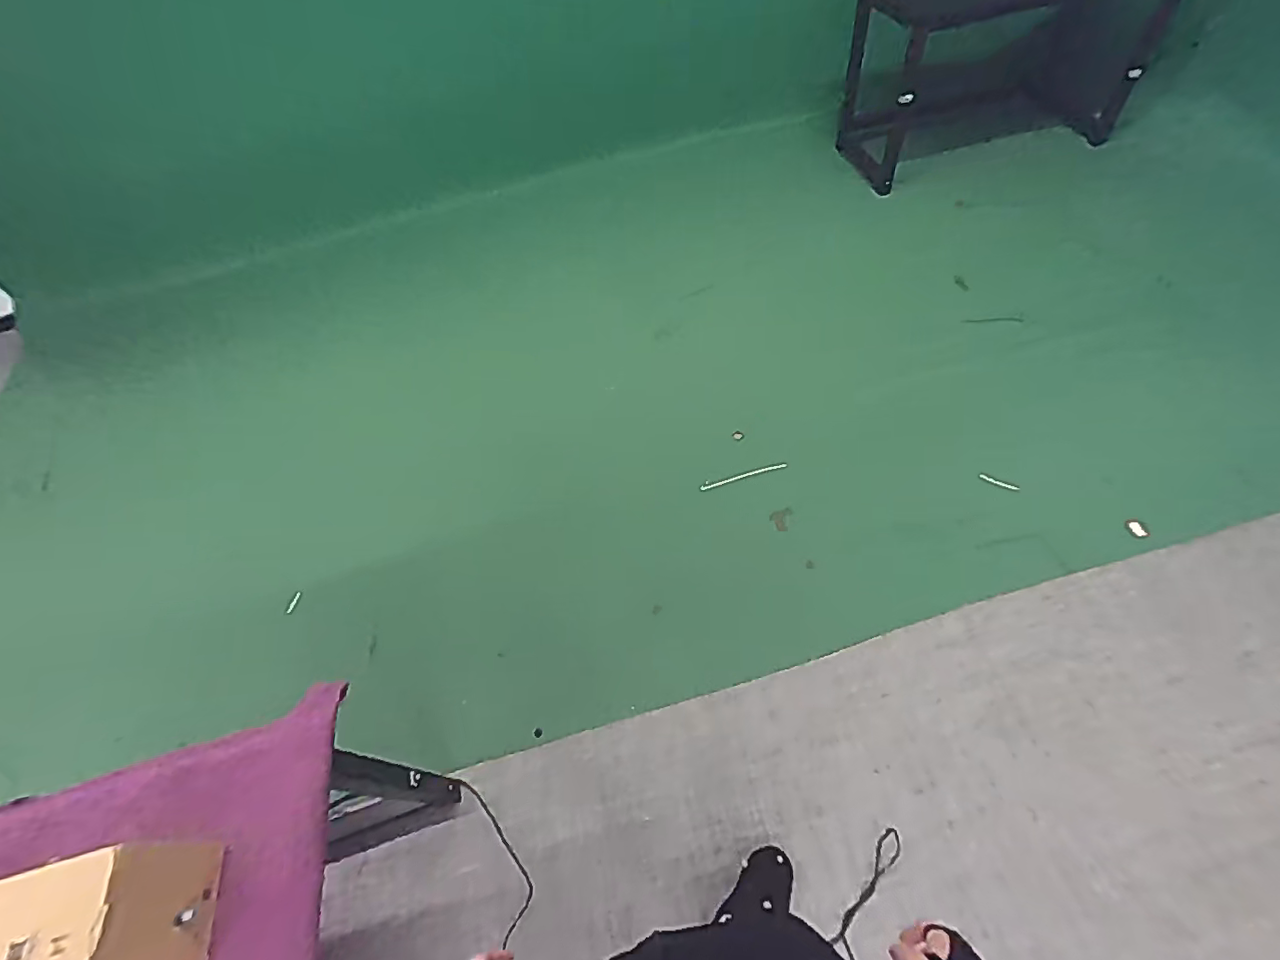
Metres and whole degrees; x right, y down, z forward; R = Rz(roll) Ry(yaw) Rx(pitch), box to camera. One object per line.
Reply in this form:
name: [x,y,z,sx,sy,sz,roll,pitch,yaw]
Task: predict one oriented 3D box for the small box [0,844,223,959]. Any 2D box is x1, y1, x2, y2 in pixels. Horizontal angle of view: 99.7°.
small box: [-0.681,0.575,0.674,0.179,0.176,0.168,-16,55,-1]
